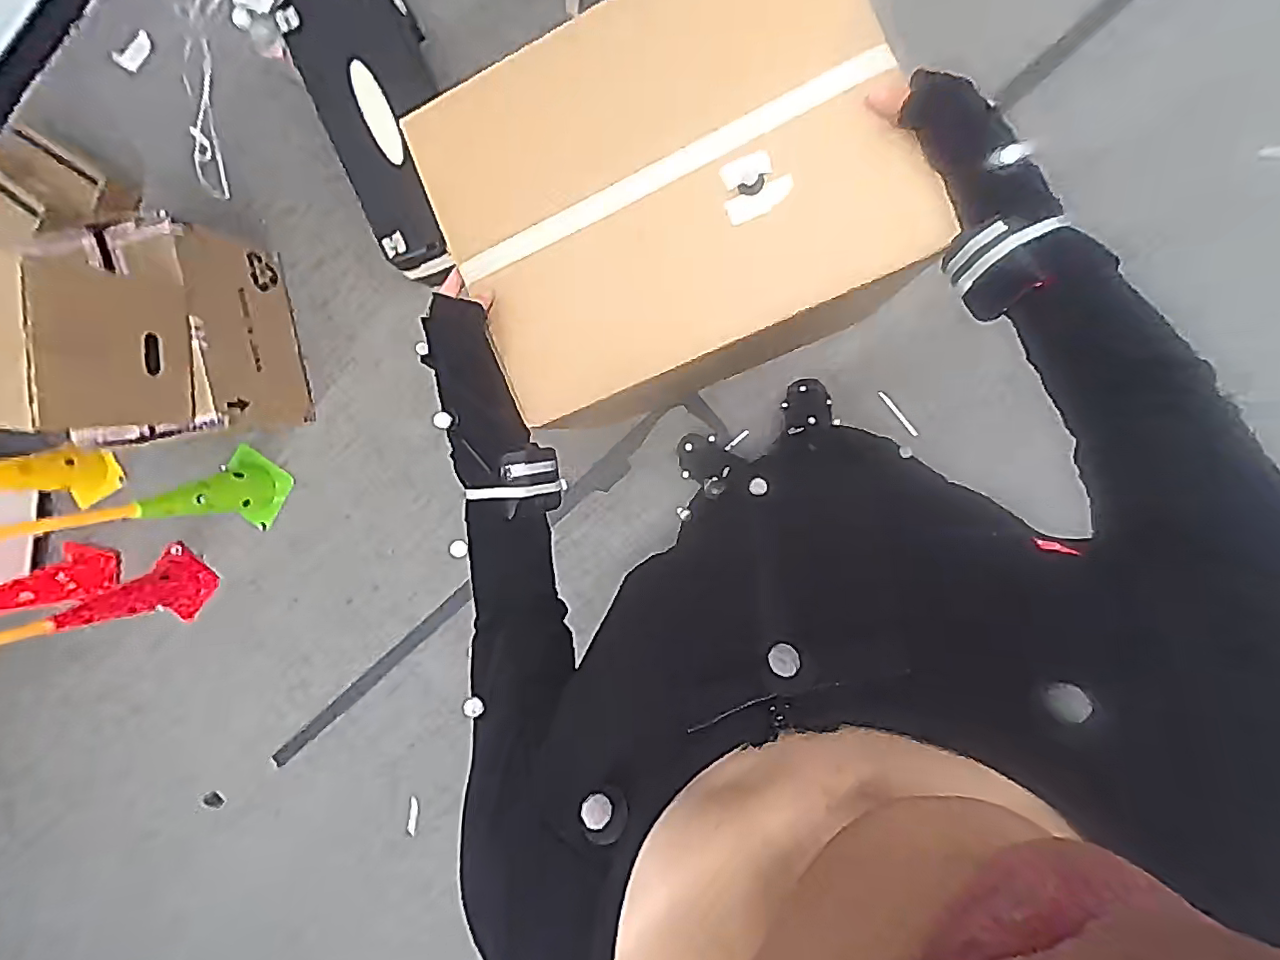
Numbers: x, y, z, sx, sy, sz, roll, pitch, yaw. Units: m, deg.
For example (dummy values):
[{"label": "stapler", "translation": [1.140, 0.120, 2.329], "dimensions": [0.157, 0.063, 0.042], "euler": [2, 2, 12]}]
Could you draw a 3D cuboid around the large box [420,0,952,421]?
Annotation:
[{"label": "large box", "translation": [0.047, -0.287, 0.625], "dimensions": [0.408, 0.320, 0.320], "euler": [-21, 91, 10]}]
